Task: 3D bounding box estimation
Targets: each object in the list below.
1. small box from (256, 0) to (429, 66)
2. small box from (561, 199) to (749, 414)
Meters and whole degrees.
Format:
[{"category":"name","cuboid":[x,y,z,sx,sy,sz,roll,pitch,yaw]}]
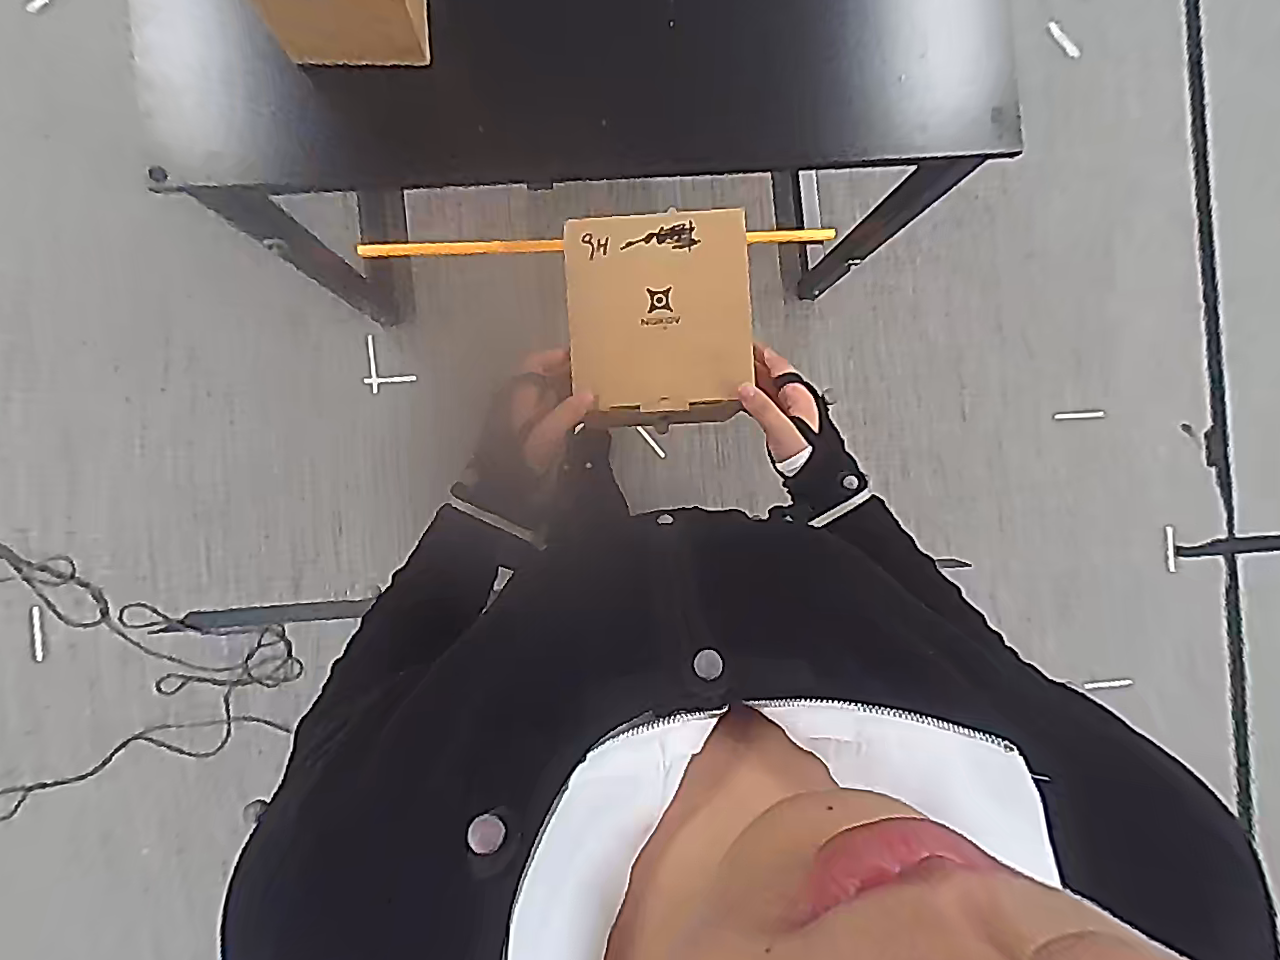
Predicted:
[{"category":"small box","cuboid":[-0.368,-0.632,0.640,0.179,0.176,0.168,-4,91,-5]},{"category":"small box","cuboid":[0.017,-0.163,0.568,0.168,0.176,0.179,-4,91,1]}]
